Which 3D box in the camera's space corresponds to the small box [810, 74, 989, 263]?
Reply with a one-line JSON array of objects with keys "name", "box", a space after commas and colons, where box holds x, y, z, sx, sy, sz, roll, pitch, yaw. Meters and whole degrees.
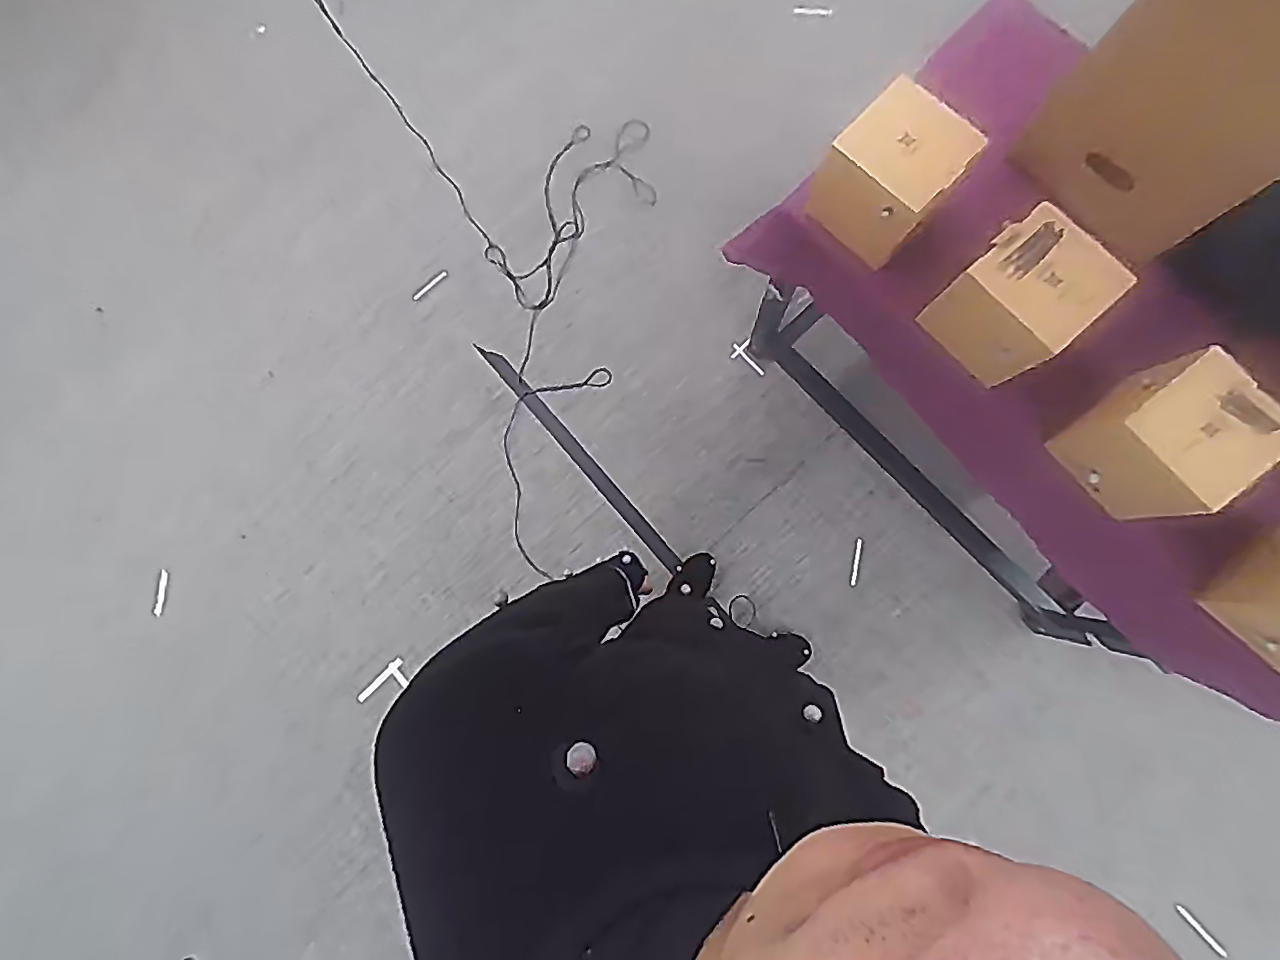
[{"name": "small box", "box": [0.414, -0.503, 0.899, 0.179, 0.176, 0.168, 44, 87, 7]}]

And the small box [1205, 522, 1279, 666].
[{"name": "small box", "box": [0.992, 0.167, 0.769, 0.179, 0.176, 0.168, -45, 81, -3]}]

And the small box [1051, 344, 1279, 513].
[{"name": "small box", "box": [0.788, -0.066, 0.815, 0.179, 0.176, 0.168, -39, 81, -1]}]
